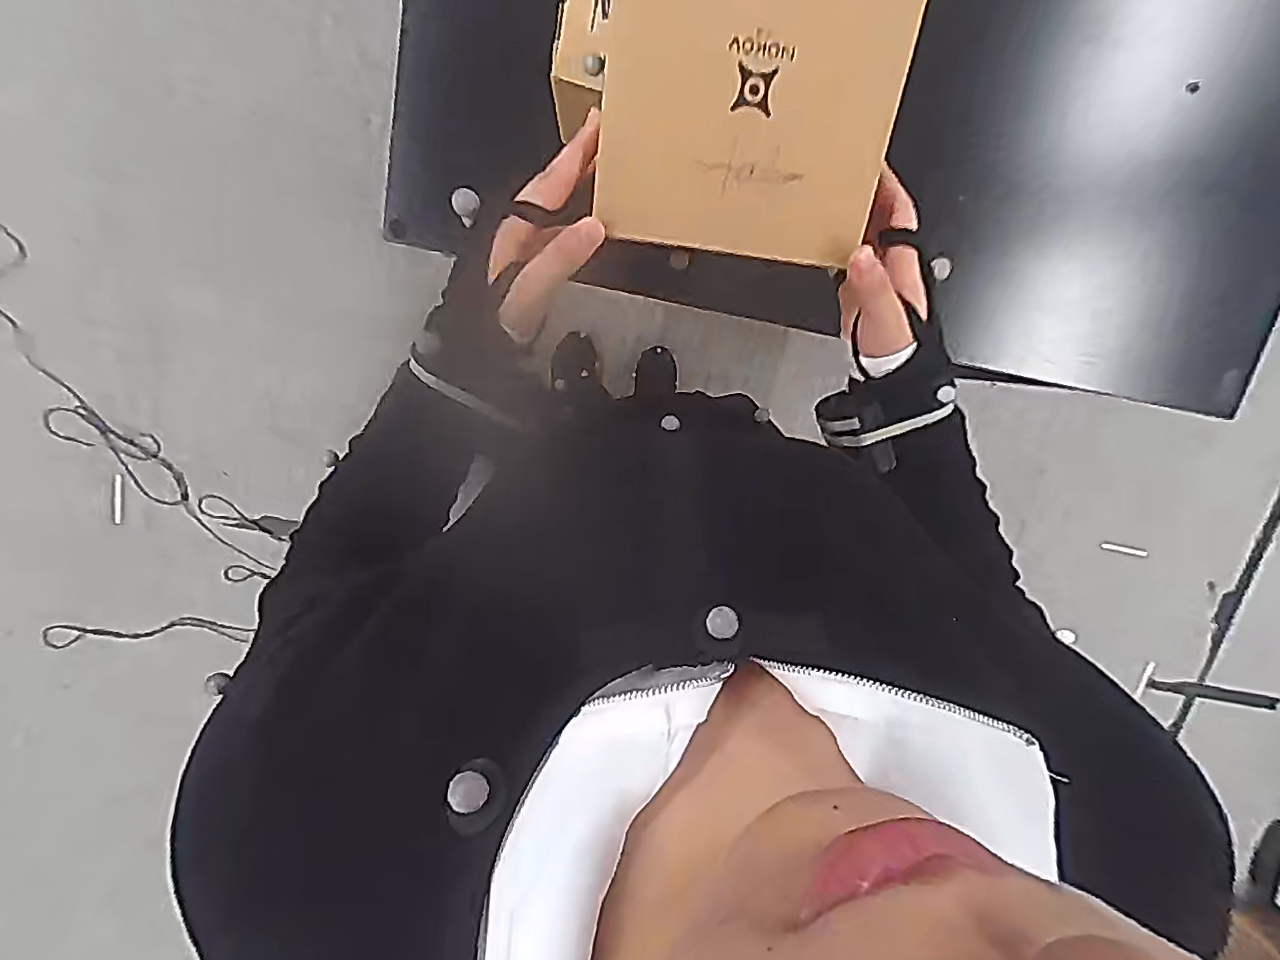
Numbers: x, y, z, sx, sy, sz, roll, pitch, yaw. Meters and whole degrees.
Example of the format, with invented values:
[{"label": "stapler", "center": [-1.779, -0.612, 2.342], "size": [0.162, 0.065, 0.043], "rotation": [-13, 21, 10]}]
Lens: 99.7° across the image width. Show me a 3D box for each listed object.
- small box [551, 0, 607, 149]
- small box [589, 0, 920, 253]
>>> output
[{"label": "small box", "center": [0.012, -0.449, 0.566], "size": [0.179, 0.176, 0.168], "rotation": [11, 102, -8]}, {"label": "small box", "center": [0.056, -0.259, 0.362], "size": [0.168, 0.176, 0.179], "rotation": [5, 115, -5]}]
